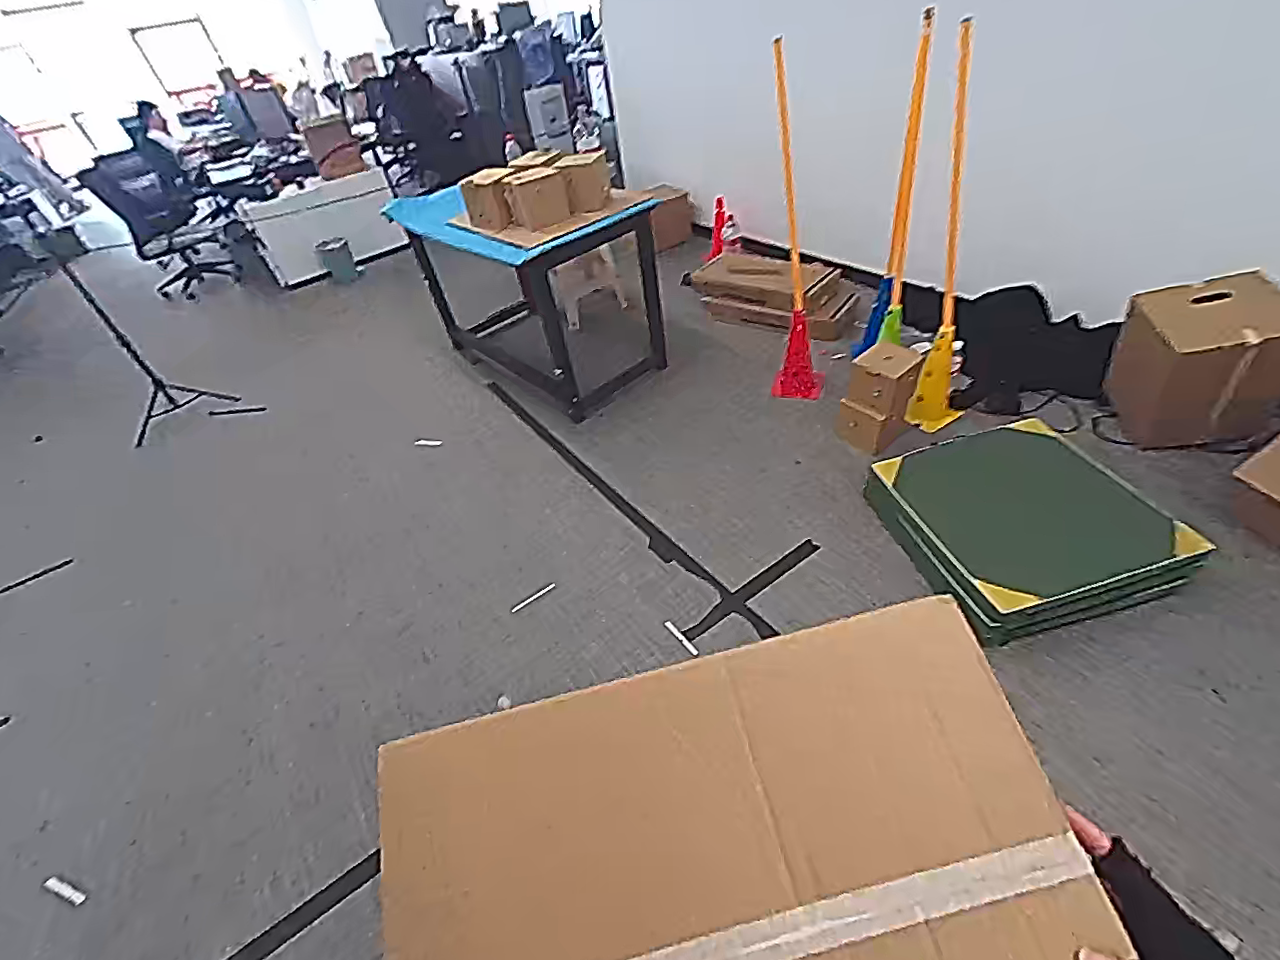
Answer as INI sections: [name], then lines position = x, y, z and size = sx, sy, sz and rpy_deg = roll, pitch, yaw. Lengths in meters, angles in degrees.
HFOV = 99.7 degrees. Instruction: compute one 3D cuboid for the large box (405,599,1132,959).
[large box]
position = 0.076, 0.331, 0.446
size = 0.408, 0.320, 0.320
rpy_deg = -14, 65, -2
